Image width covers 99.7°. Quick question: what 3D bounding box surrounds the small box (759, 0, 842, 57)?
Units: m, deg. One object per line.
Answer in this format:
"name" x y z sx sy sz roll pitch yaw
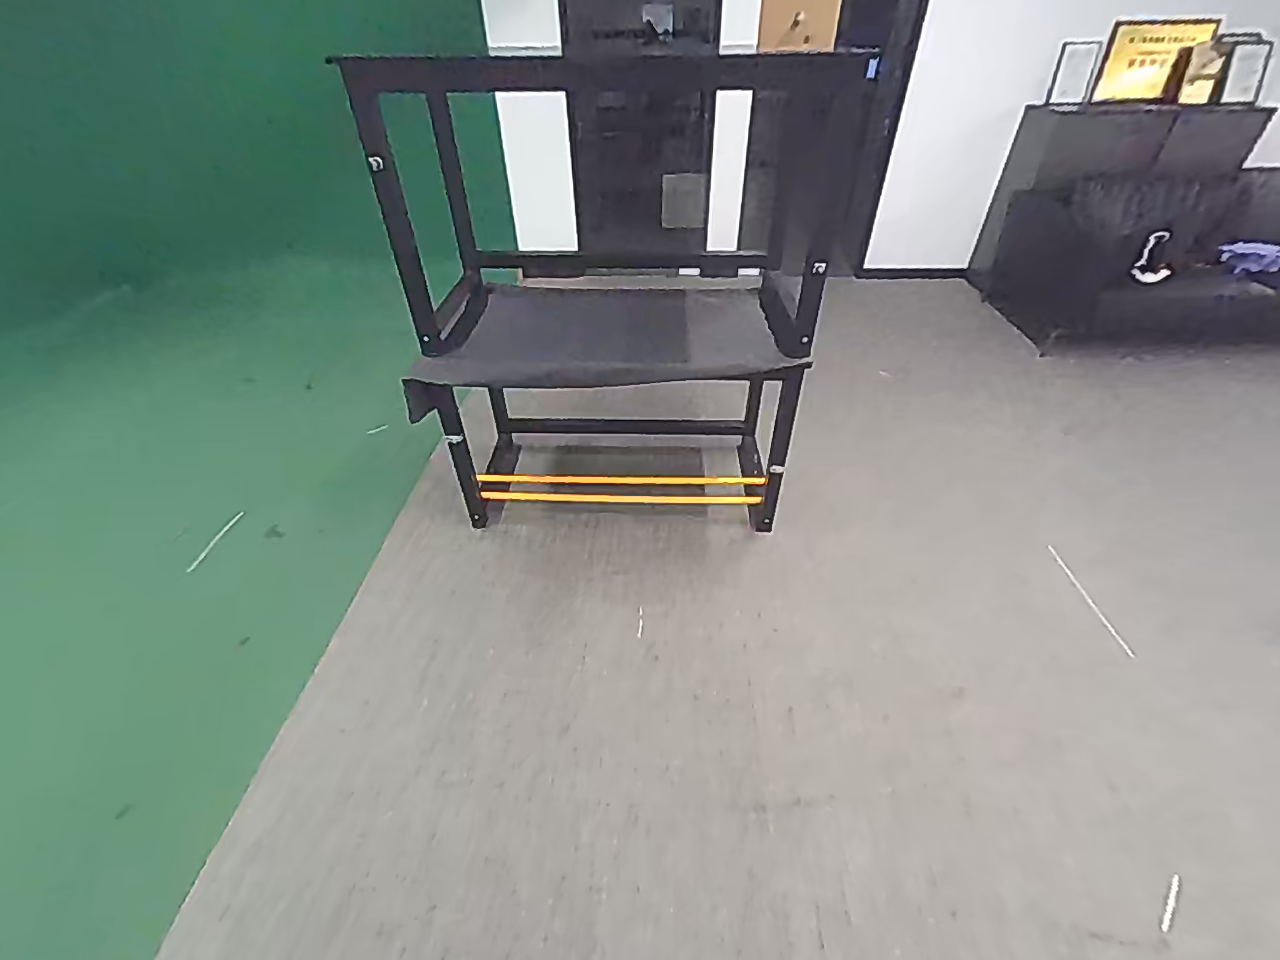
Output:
"small box" 0.363 -1.073 1.229 0.168 0.176 0.179 5 40 8
